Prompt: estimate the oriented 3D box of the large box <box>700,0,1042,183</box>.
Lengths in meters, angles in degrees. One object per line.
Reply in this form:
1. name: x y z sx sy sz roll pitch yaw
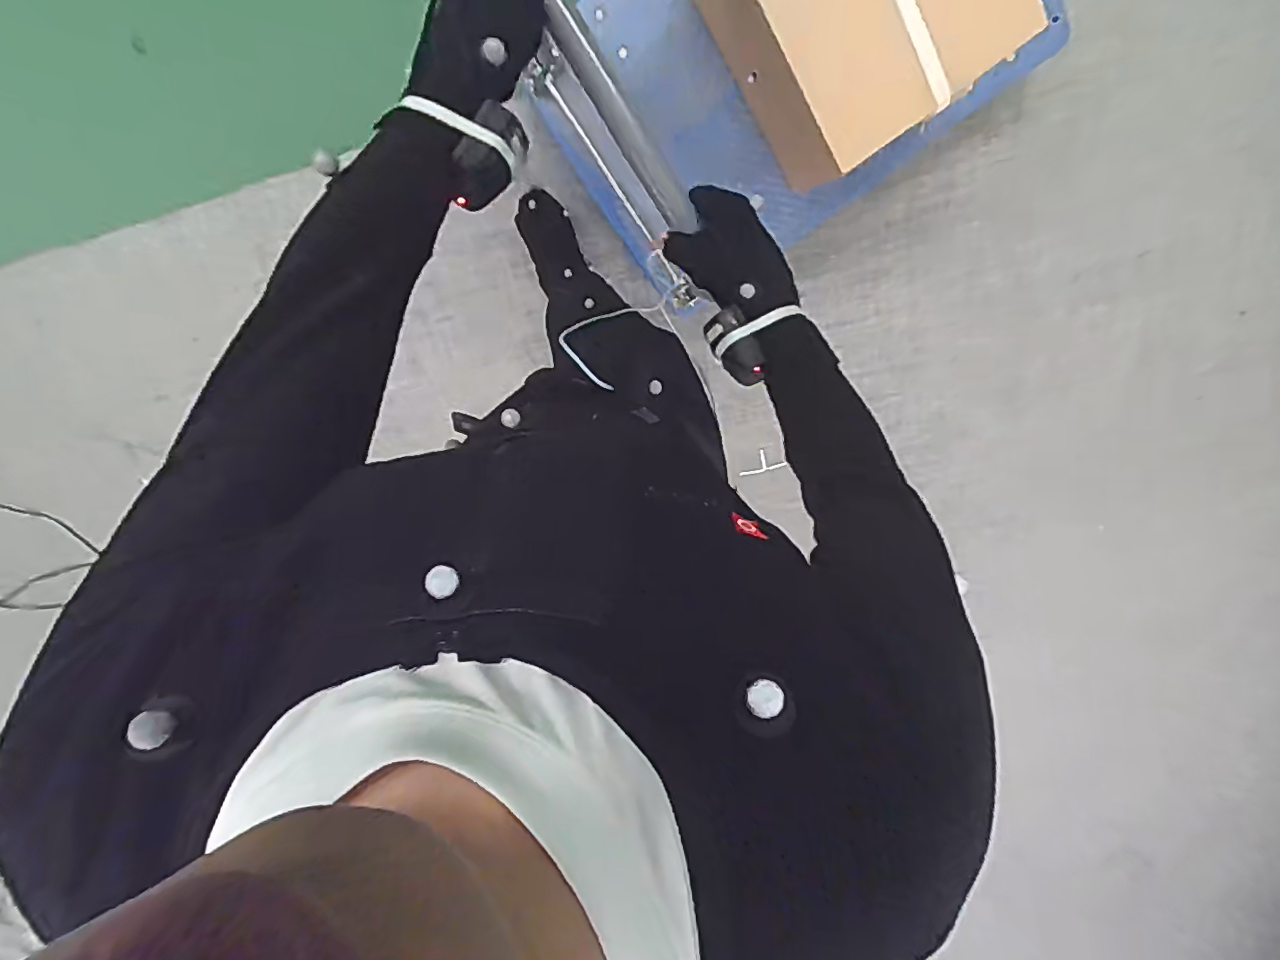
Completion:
1. large box: 0.318 -0.759 0.850 0.320 0.320 0.408 -32 109 14
